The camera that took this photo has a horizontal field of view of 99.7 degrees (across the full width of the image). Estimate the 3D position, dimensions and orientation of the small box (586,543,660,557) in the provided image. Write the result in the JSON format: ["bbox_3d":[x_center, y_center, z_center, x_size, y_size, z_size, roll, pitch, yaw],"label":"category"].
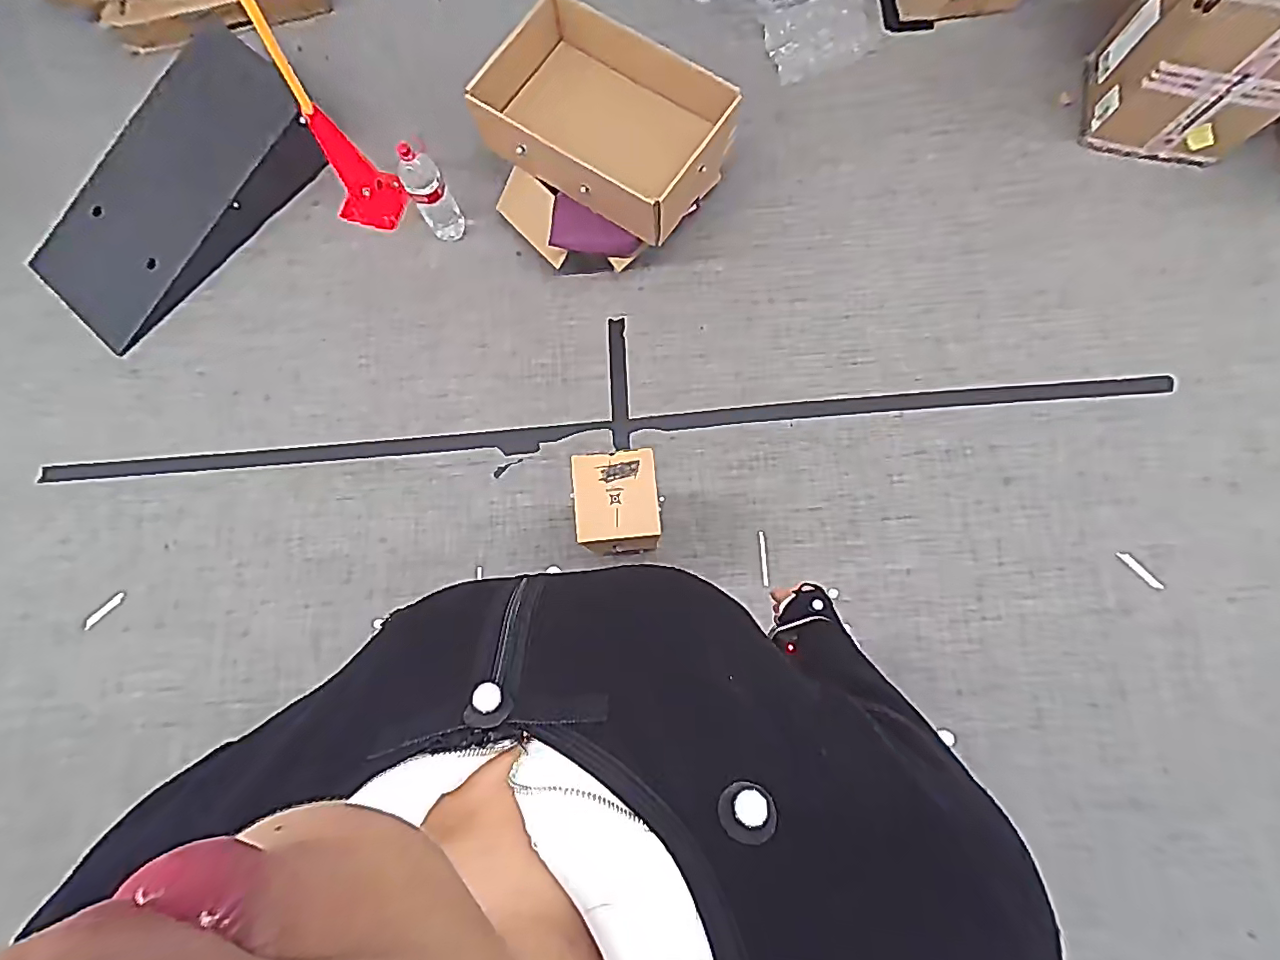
[{"bbox_3d":[-0.043,0.084,1.296,0.168,0.176,0.179,-6,77,1],"label":"small box"}]

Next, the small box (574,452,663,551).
[{"bbox_3d":[-0.043,0.050,1.134,0.168,0.176,0.179,-5,79,1],"label":"small box"}]
